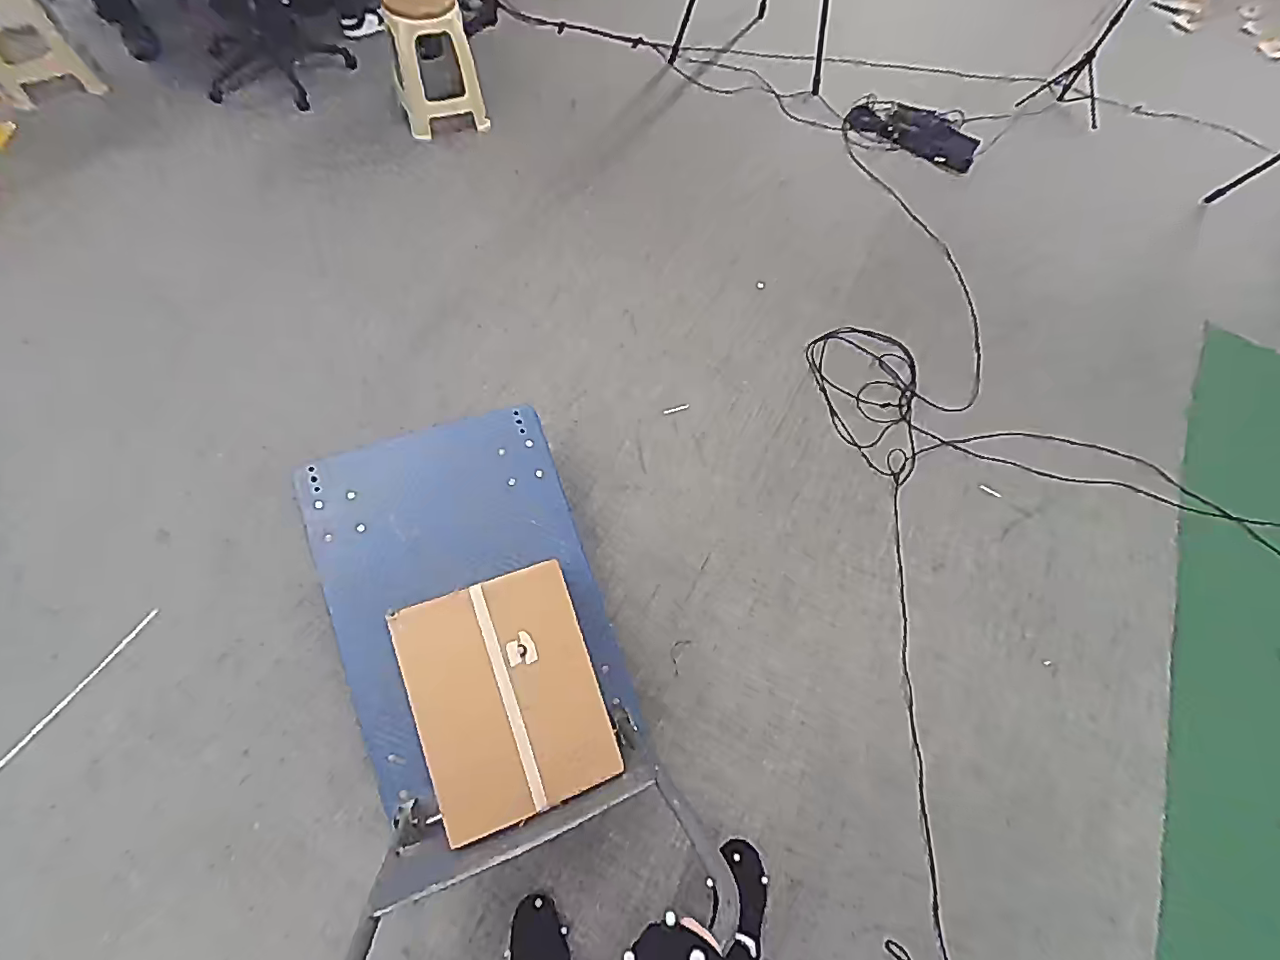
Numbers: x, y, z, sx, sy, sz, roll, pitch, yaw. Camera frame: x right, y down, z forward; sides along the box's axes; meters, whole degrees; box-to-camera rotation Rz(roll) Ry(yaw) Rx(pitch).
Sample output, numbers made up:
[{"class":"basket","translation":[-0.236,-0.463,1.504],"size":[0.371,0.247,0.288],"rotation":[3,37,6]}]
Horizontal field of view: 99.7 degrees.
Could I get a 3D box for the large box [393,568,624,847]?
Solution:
[{"class":"large box","translation":[-0.262,0.428,1.119],"size":[0.320,0.320,0.408],"rotation":[-18,82,-15]}]
